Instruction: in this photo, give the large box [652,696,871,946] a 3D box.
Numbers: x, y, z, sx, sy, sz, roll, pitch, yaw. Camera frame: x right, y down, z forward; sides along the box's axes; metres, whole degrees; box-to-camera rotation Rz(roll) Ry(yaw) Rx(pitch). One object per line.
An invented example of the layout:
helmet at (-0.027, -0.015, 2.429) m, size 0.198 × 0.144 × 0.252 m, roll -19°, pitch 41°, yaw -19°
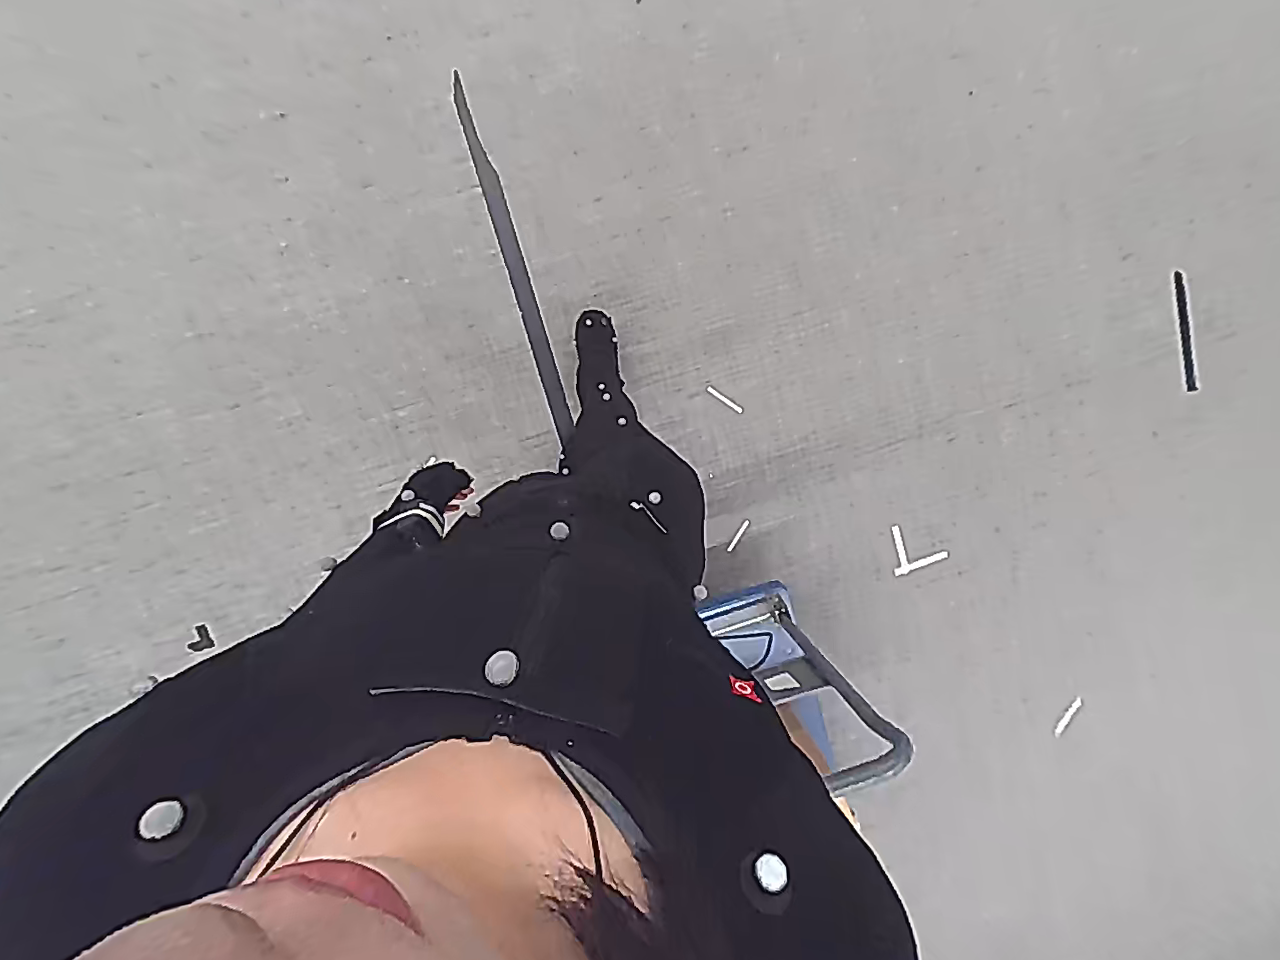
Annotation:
large box at (0.281, 0.825, 1.355) m, size 0.408 × 0.320 × 0.320 m, roll -24°, pitch 100°, yaw 0°
